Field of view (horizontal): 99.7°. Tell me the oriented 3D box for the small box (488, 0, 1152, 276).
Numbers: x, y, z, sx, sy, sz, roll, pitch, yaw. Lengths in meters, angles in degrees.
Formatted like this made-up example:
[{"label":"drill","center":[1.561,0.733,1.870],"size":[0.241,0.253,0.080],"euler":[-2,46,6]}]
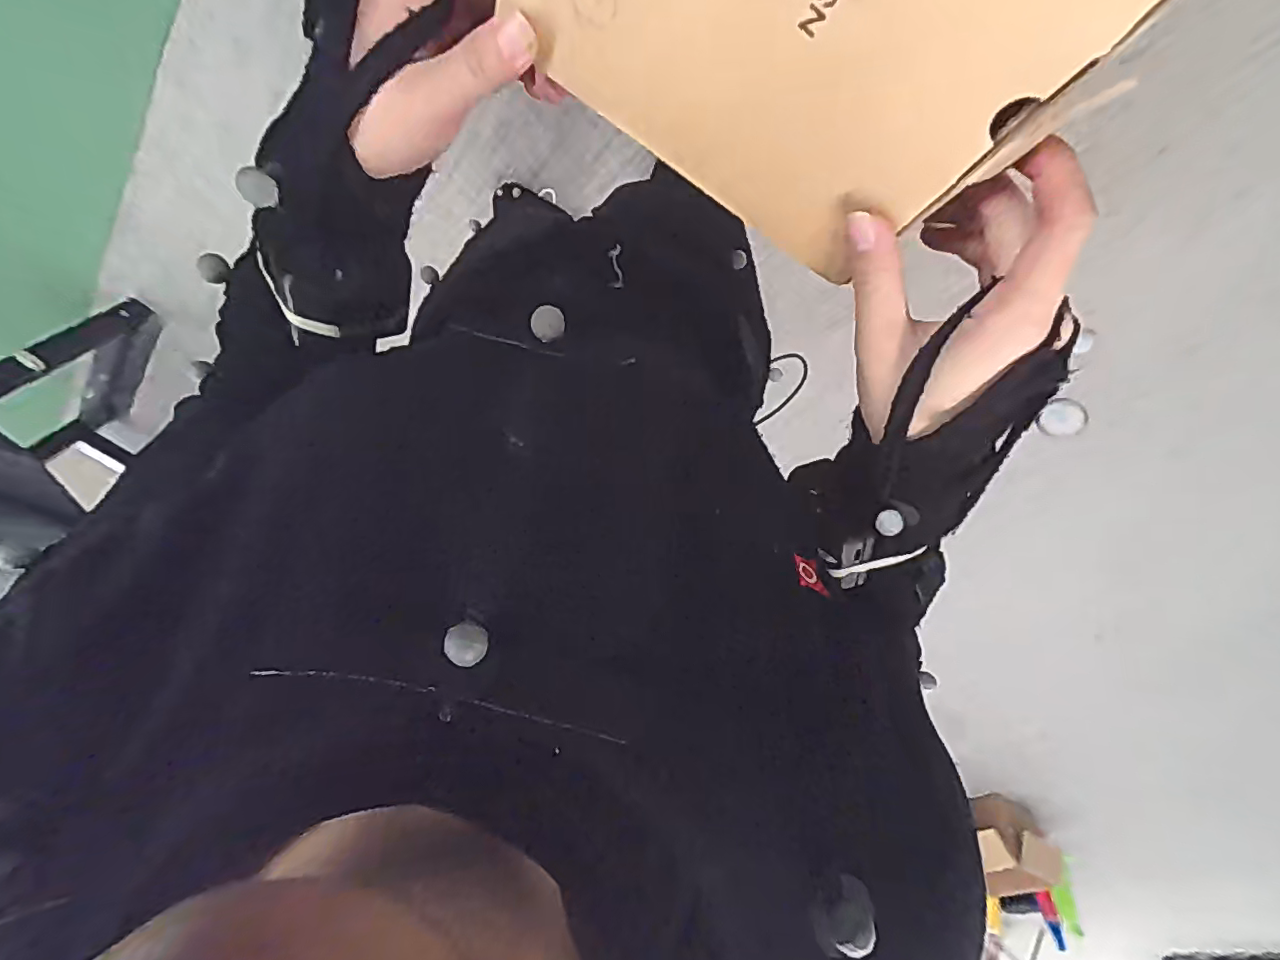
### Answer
[{"label":"small box","center":[0.076,-0.219,0.184],"size":[0.179,0.176,0.168],"euler":[30,153,-10]}]
